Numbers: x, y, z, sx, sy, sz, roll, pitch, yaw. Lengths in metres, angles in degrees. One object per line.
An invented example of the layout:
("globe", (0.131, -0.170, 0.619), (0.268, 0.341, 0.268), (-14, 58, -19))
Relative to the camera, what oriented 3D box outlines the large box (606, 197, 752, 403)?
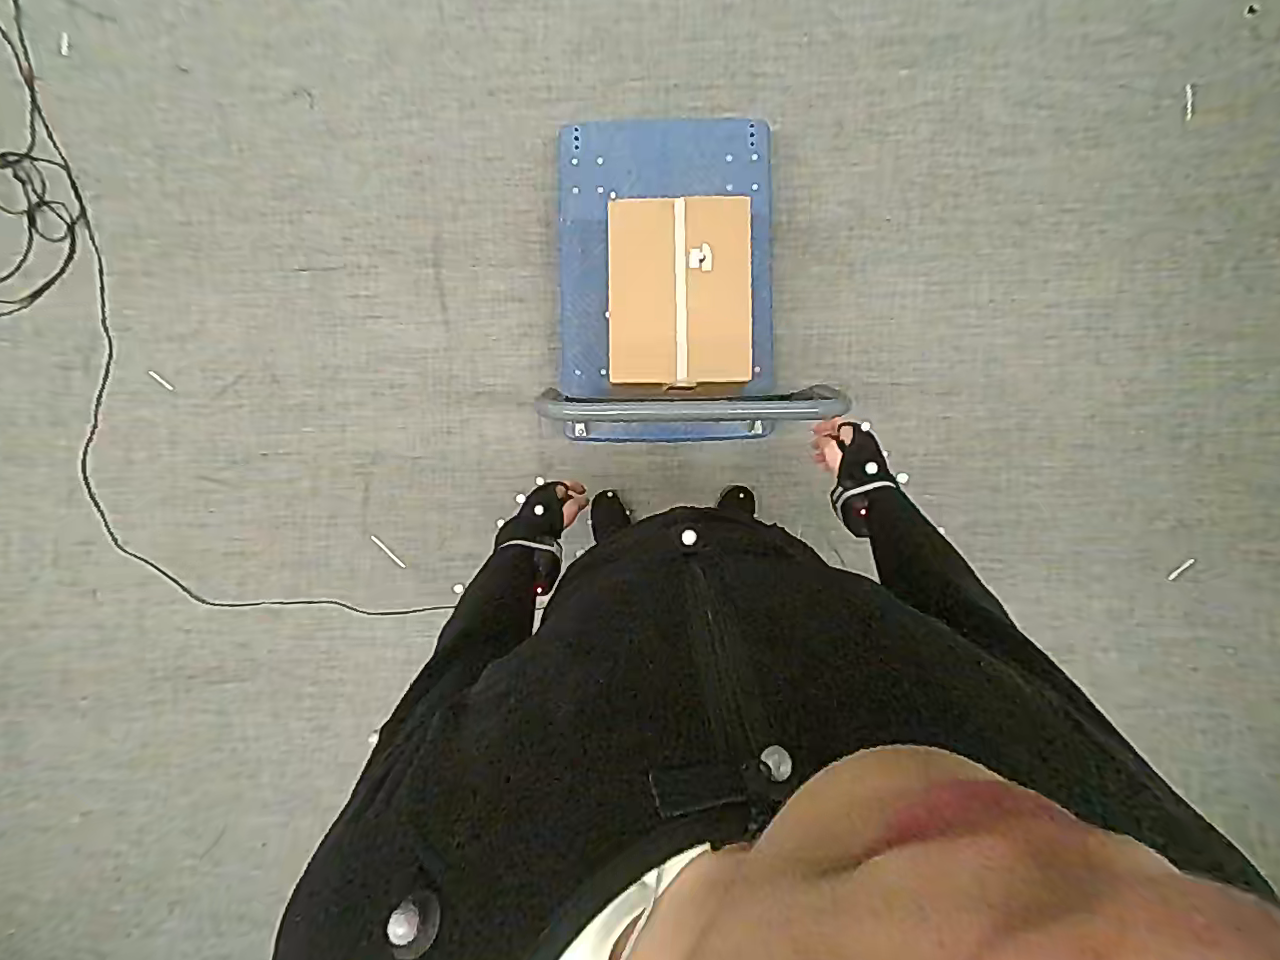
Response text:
("large box", (0.087, -0.413, 1.326), (0.320, 0.320, 0.408), (0, 89, 0))
